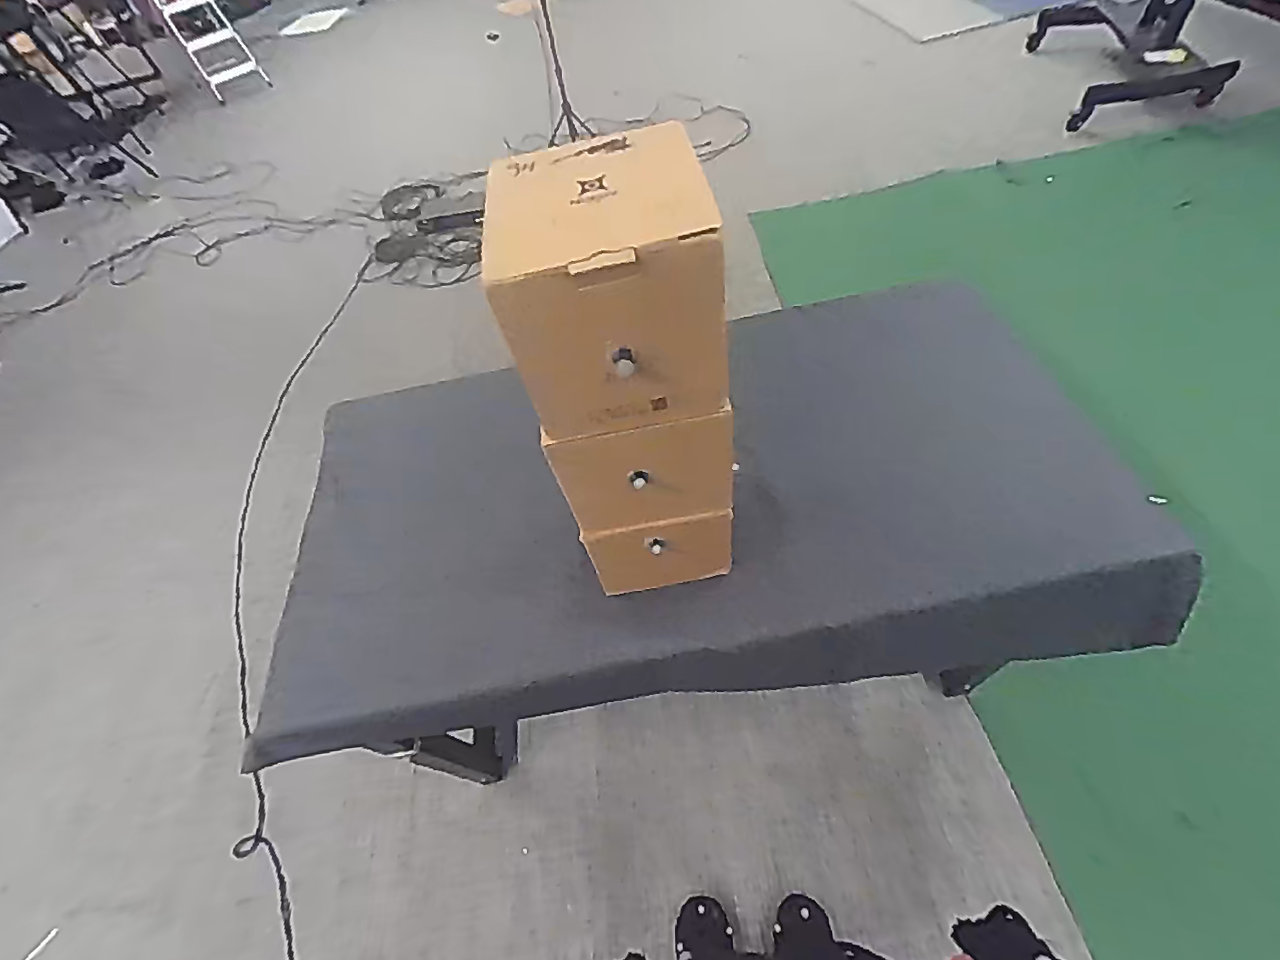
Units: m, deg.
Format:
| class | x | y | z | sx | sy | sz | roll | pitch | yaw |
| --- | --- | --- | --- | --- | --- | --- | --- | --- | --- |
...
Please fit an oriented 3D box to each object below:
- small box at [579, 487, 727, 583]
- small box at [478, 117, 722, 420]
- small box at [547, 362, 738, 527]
| class | x | y | z | sx | sy | sz | roll | pitch | yaw |
| --- | --- | --- | --- | --- | --- | --- | --- | --- | --- |
| small box | 0.017 | 0.024 | 0.729 | 0.179 | 0.176 | 0.168 | -10 | 56 | 1 |
| small box | -0.026 | -0.168 | 0.467 | 0.168 | 0.176 | 0.179 | -10 | 56 | 3 |
| small box | -0.001 | -0.069 | 0.595 | 0.179 | 0.176 | 0.168 | -12 | 56 | 0 |
